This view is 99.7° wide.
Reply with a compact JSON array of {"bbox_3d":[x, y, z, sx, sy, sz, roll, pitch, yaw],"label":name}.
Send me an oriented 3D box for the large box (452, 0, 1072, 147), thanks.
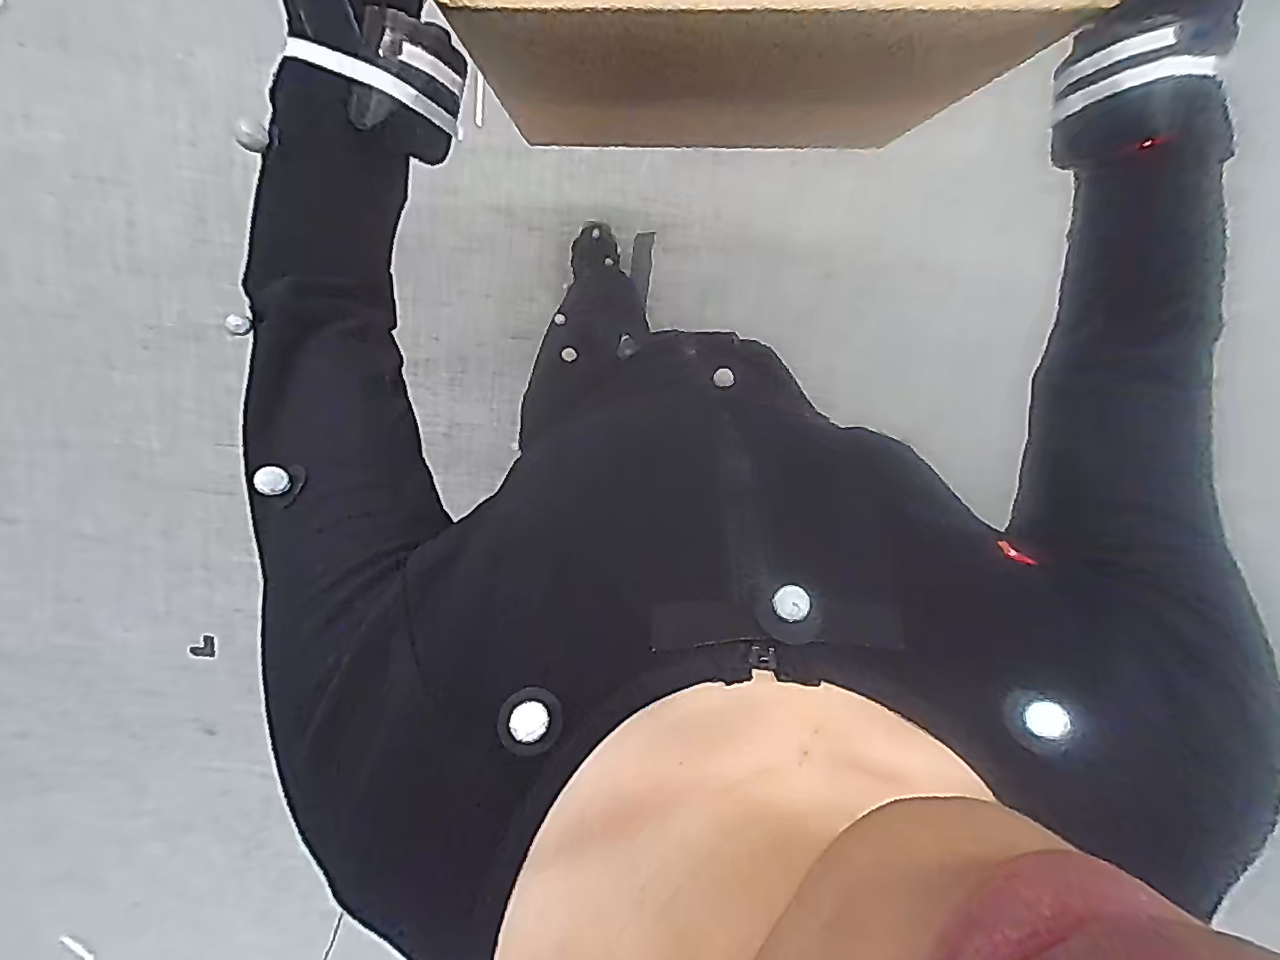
[{"bbox_3d":[0.072,-0.481,0.423,0.408,0.320,0.320,-1,108,-1],"label":"large box"}]
